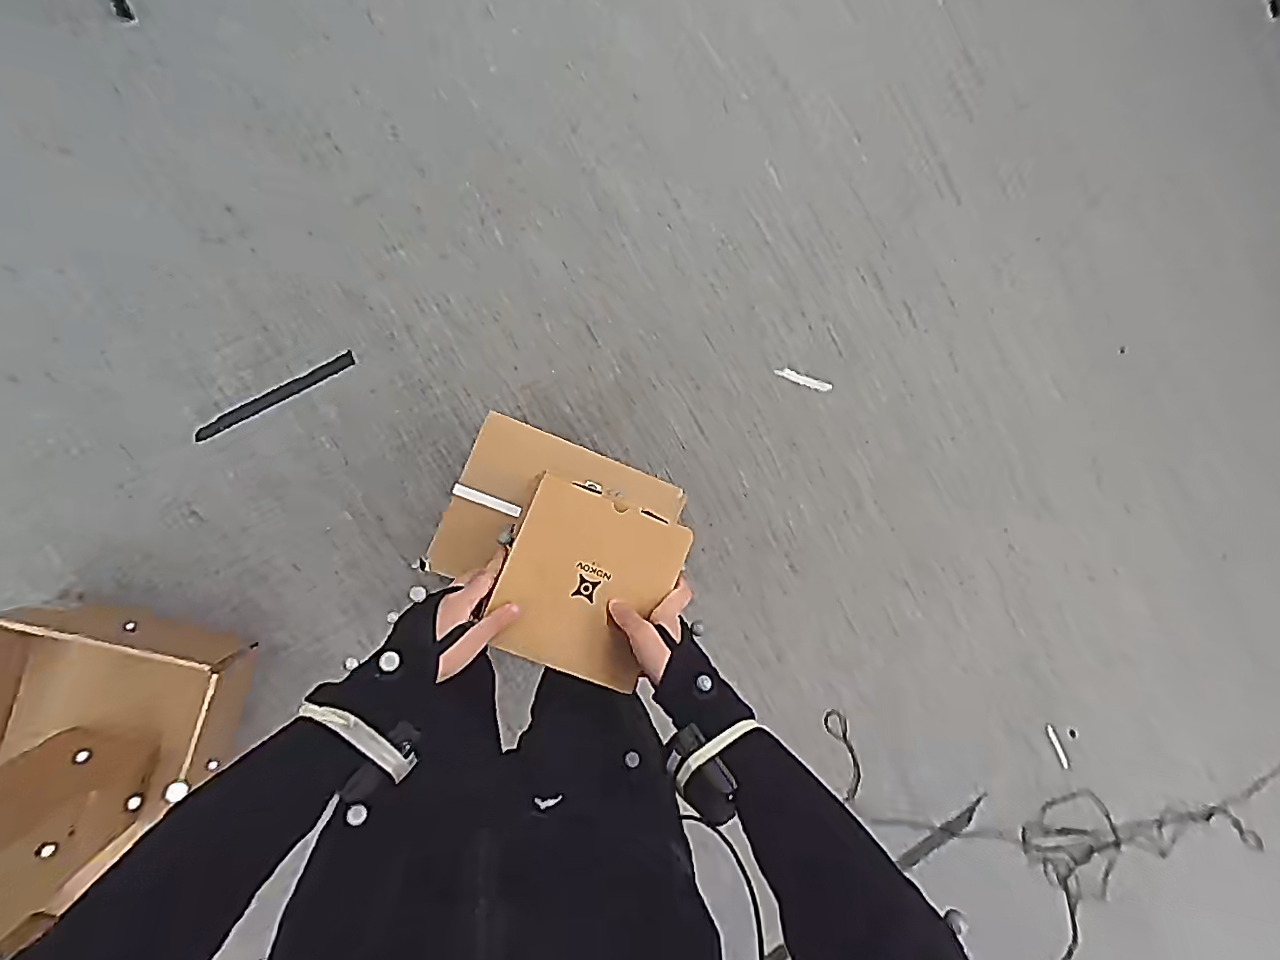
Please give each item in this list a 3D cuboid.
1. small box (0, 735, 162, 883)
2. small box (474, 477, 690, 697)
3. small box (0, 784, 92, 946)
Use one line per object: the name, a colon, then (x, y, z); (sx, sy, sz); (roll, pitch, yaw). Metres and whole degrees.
small box: (-1.072, 0.606, 1.017); (0.179, 0.176, 0.168); (17, 87, -11)
small box: (-0.067, 0.108, 0.609); (0.168, 0.176, 0.179); (23, 84, -10)
small box: (-1.045, 0.612, 0.857); (0.179, 0.176, 0.168); (13, 87, -10)
